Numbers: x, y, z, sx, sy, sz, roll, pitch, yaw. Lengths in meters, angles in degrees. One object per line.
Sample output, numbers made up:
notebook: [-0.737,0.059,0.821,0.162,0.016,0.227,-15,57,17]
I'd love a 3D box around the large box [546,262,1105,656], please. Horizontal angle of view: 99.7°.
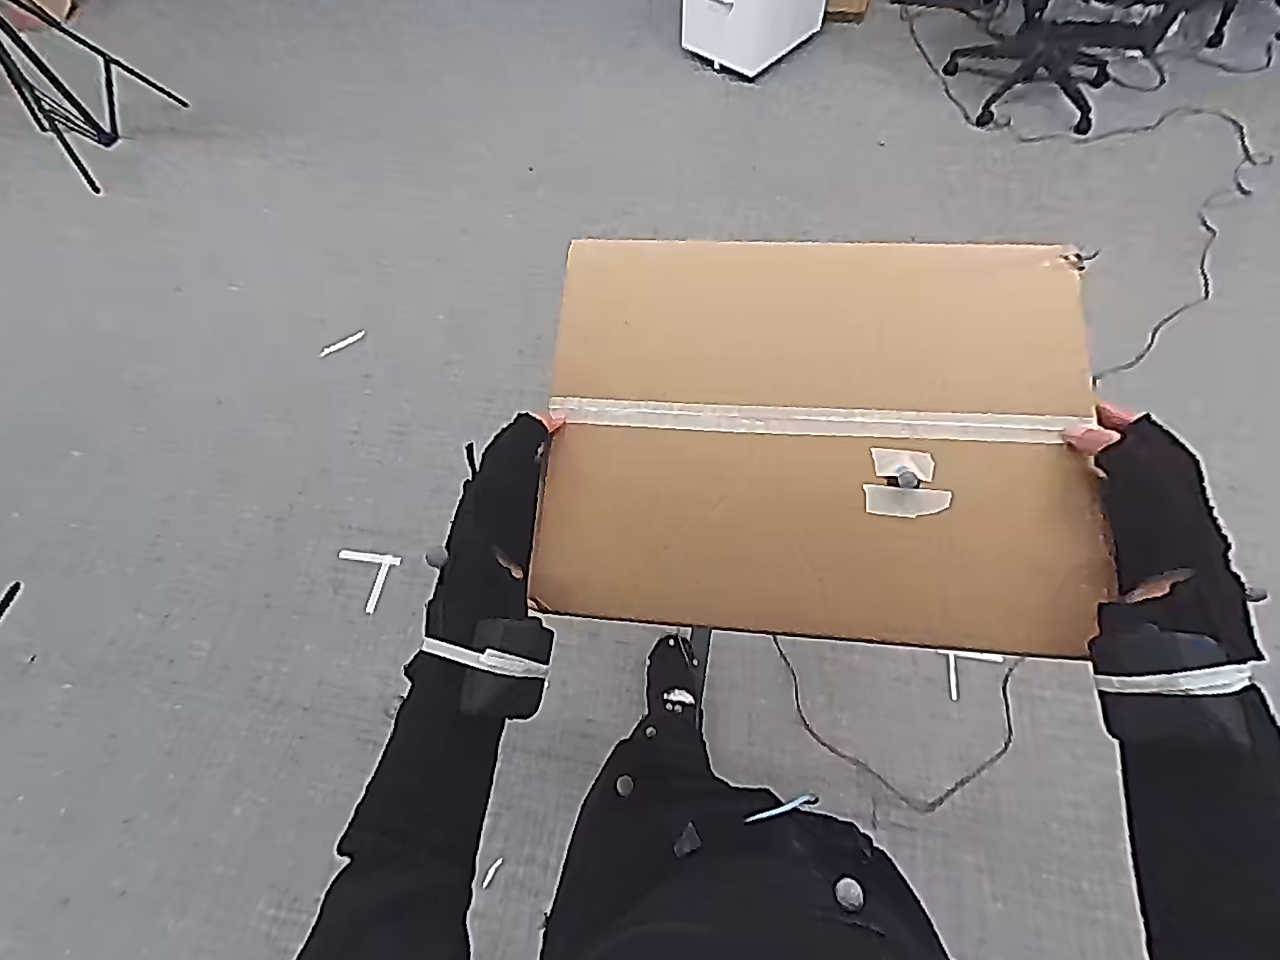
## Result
large box: [0.144,0.000,0.567,0.408,0.320,0.320,3,78,5]
